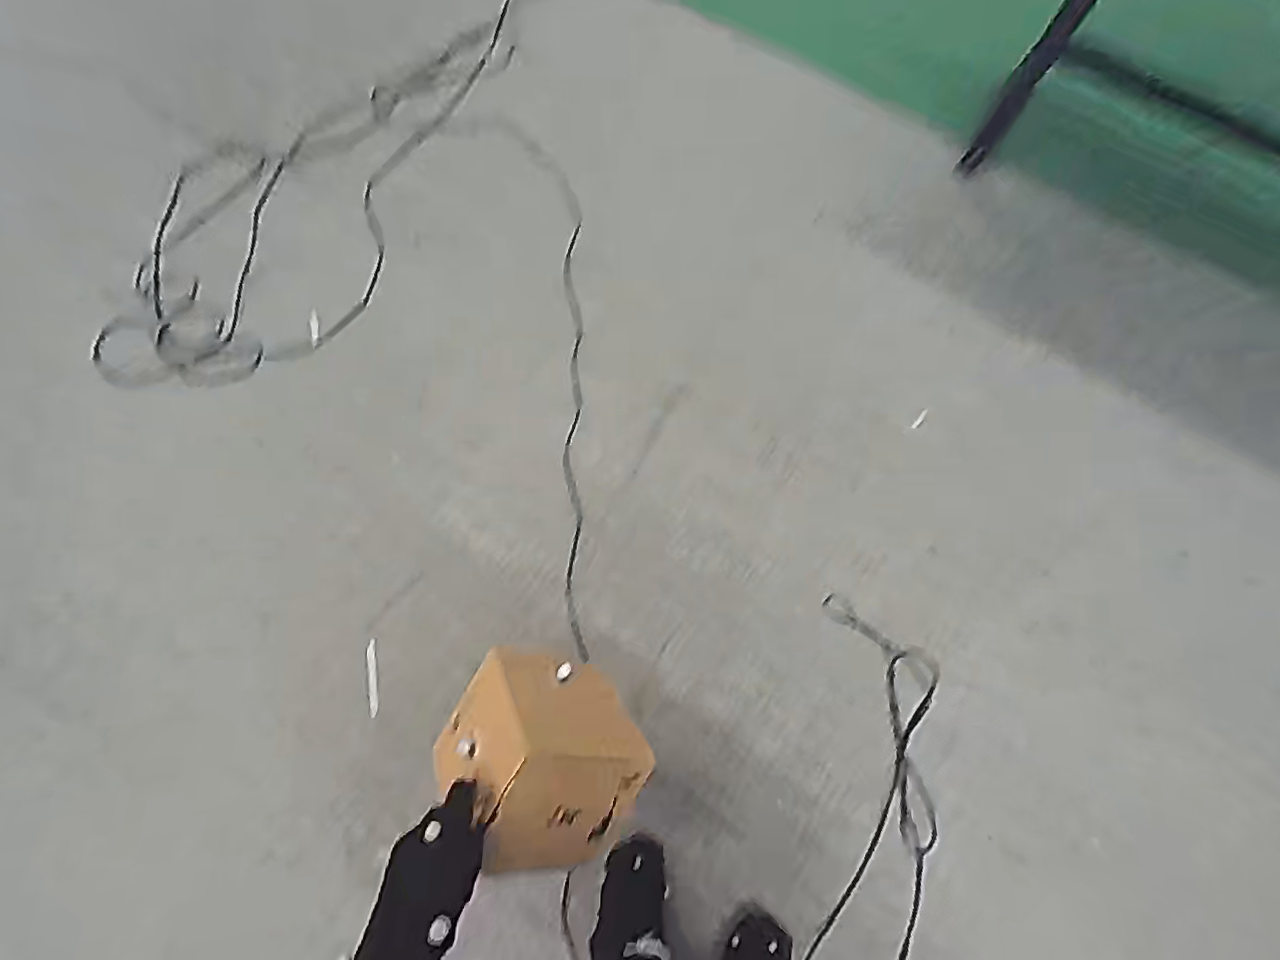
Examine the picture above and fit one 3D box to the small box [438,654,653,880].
[{"bbox_3d":[-0.123,0.333,0.648,0.179,0.176,0.168,23,100,-34],"label":"small box"}]
